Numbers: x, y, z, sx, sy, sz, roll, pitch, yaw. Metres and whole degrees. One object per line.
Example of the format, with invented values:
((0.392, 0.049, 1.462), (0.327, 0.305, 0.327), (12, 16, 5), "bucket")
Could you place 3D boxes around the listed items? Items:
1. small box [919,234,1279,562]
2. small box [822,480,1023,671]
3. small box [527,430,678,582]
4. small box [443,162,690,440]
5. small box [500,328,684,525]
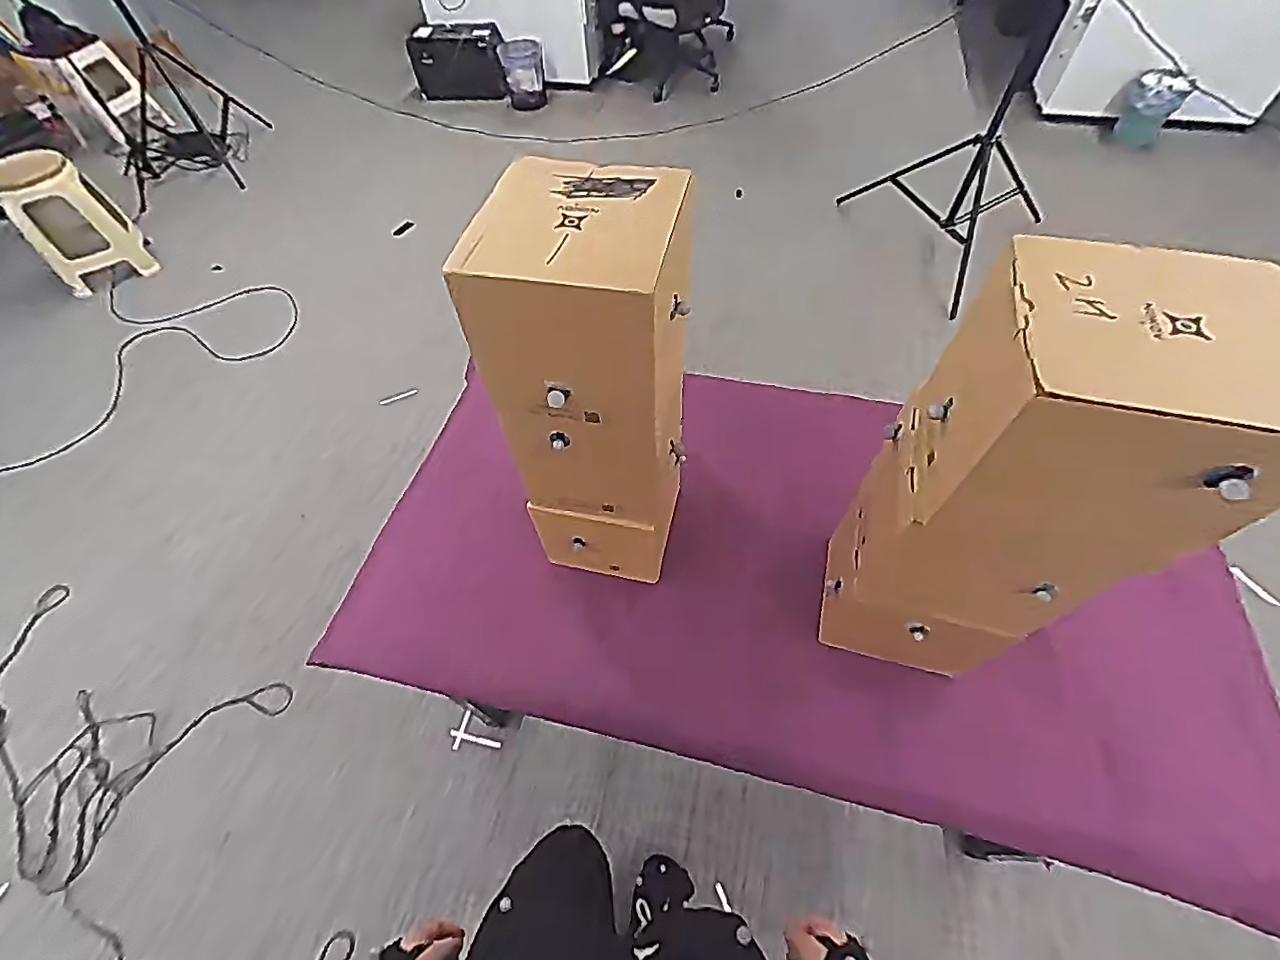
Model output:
((0.336, -0.055, 0.411), (0.179, 0.176, 0.168), (11, 57, 11), "small box")
((0.341, 0.126, 0.687), (0.179, 0.176, 0.168), (12, 58, 10), "small box")
((-0.040, 0.027, 0.773), (0.168, 0.176, 0.179), (9, 56, 9), "small box")
((-0.051, -0.164, 0.506), (0.168, 0.176, 0.179), (9, 57, 9), "small box")
((-0.044, -0.072, 0.642), (0.168, 0.176, 0.179), (8, 55, 8), "small box")
